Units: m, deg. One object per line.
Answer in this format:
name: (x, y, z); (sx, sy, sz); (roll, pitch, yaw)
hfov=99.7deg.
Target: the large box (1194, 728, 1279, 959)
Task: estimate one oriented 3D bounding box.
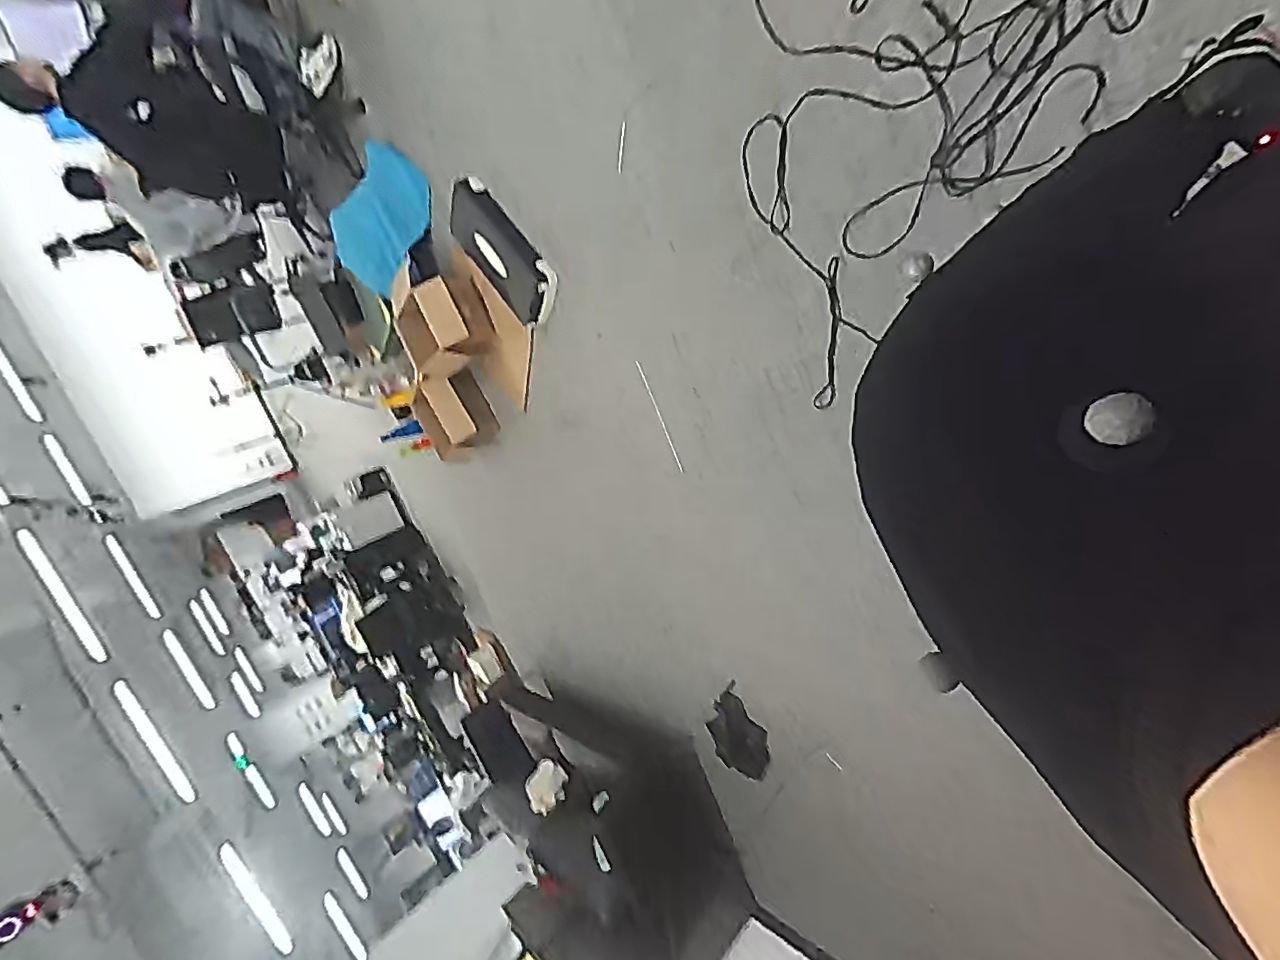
large box: (1.322, 0.732, 0.979); (0.408, 0.320, 0.320); (1, 113, 53)
